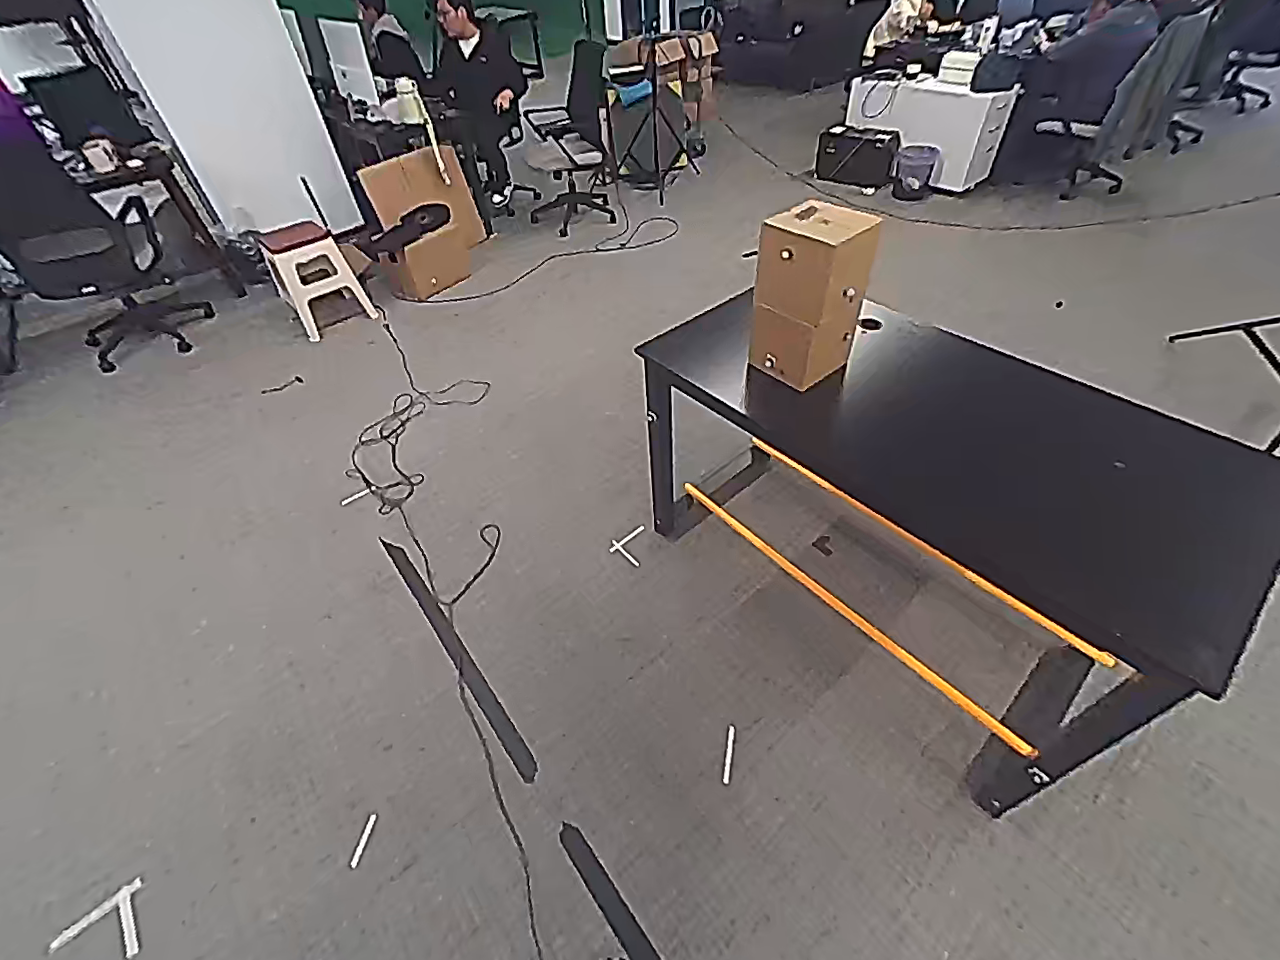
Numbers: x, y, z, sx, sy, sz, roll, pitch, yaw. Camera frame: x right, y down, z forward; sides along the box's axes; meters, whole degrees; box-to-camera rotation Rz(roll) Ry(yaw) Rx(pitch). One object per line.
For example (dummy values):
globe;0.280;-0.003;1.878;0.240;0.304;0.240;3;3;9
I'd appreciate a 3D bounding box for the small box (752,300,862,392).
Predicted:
small box;0.373;-0.332;1.239;0.179;0.176;0.168;-34;51;-24

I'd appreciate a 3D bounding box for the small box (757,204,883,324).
small box;0.362;-0.447;1.122;0.168;0.176;0.179;-34;52;-26
